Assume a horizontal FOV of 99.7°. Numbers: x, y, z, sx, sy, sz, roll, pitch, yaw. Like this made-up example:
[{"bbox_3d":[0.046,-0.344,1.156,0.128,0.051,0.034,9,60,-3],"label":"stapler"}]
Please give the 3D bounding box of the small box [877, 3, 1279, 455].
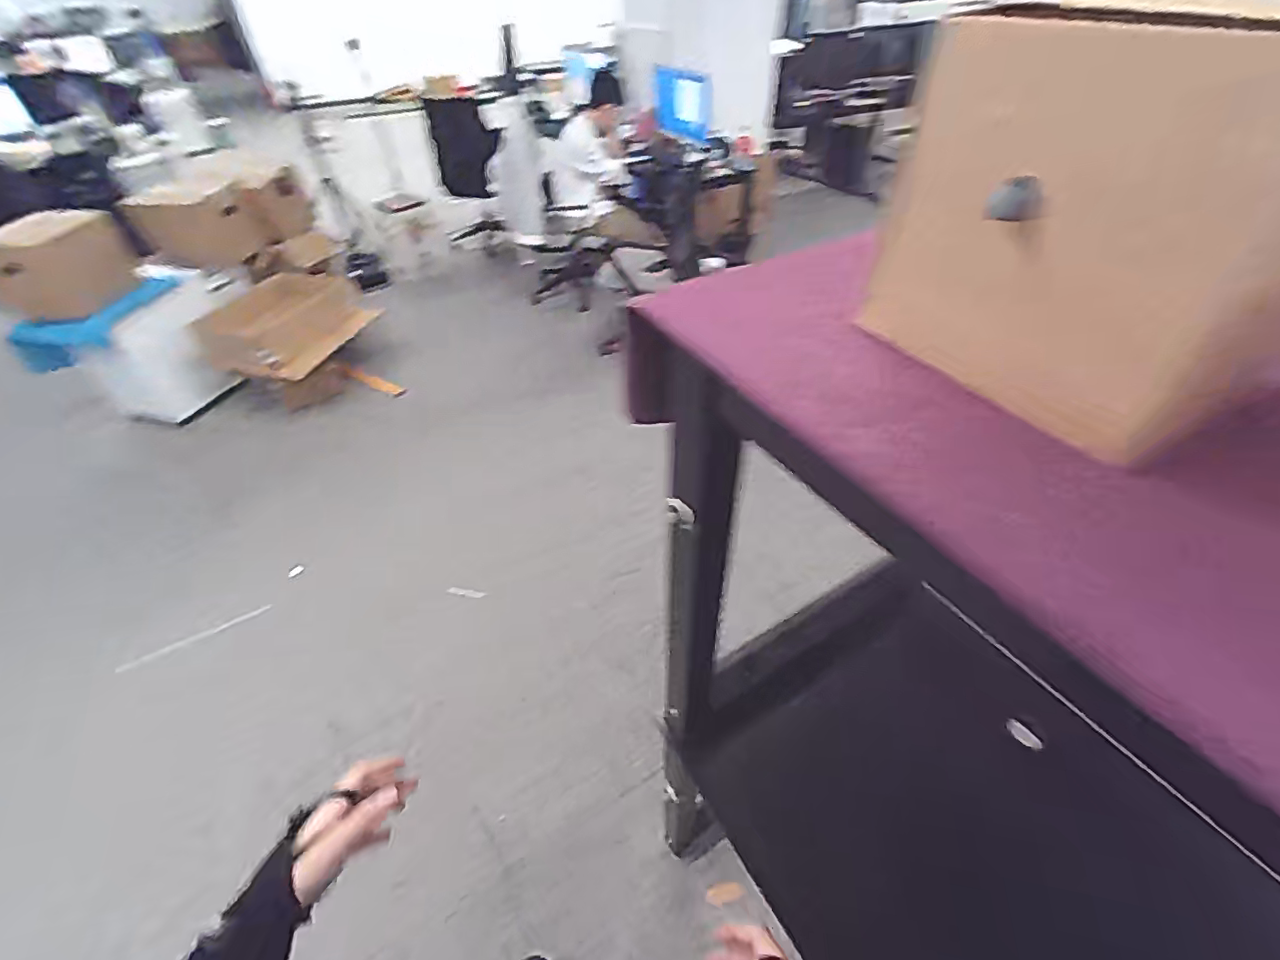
[{"bbox_3d":[0.263,-0.142,0.291,0.168,0.176,0.179,-21,46,-19],"label":"small box"}]
